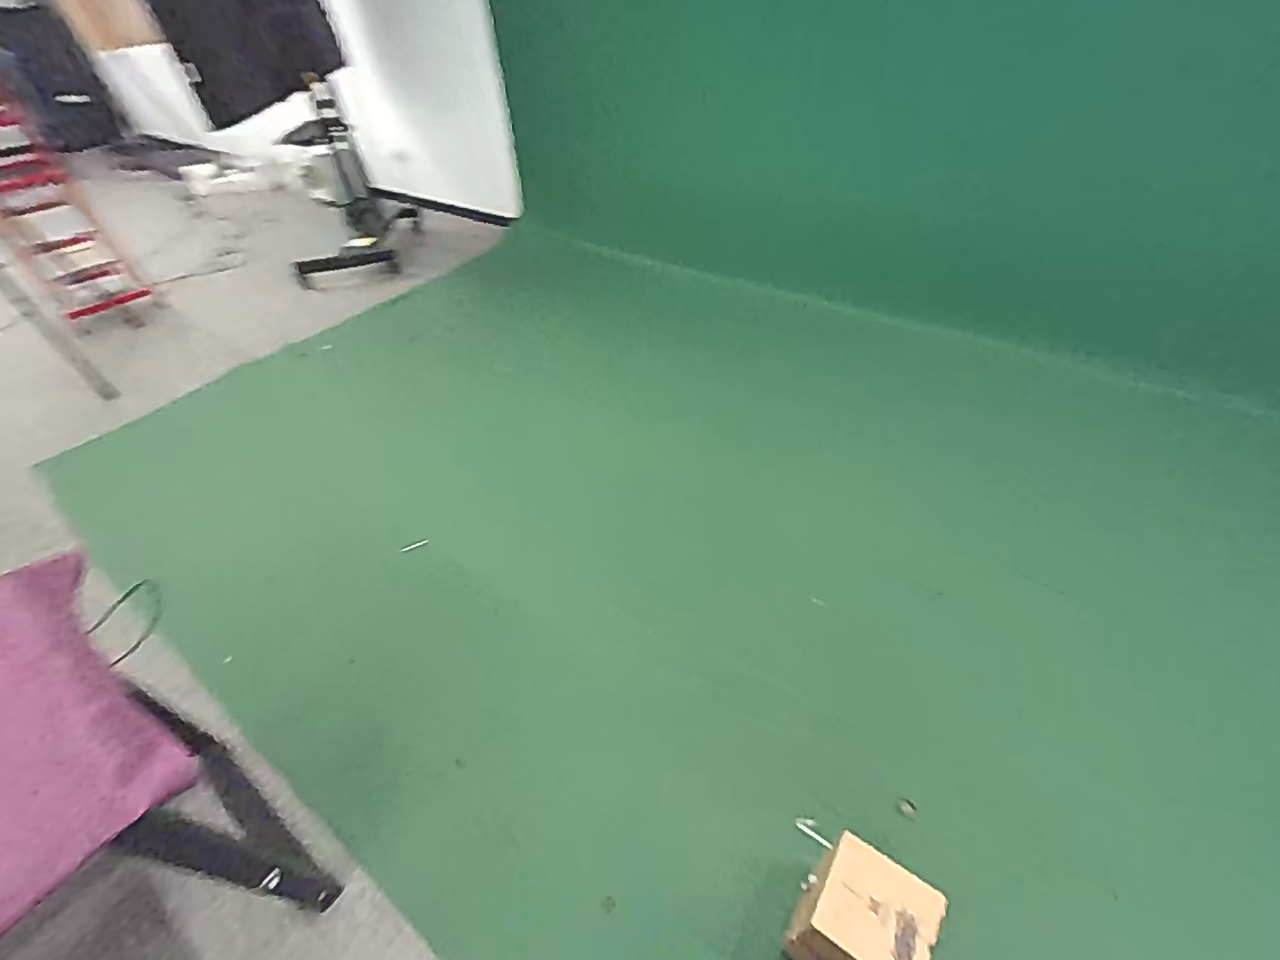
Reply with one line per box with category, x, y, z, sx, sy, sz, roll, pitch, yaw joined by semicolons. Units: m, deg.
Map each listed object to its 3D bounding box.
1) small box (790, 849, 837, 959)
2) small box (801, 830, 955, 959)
small box;0.410;0.884;1.066;0.168;0.176;0.179;25;52;27
small box;0.408;0.766;0.948;0.179;0.176;0.168;28;51;28
